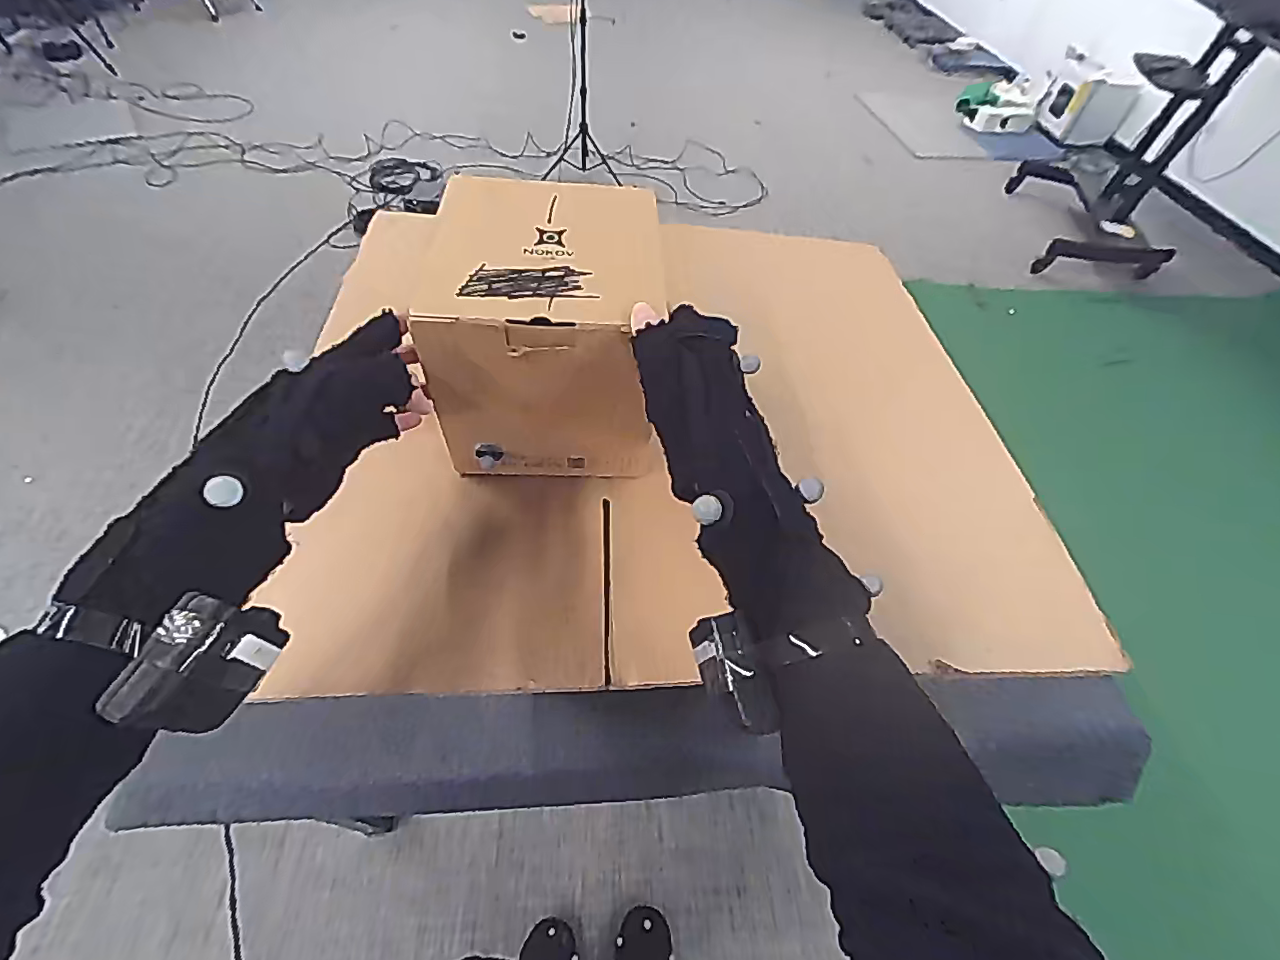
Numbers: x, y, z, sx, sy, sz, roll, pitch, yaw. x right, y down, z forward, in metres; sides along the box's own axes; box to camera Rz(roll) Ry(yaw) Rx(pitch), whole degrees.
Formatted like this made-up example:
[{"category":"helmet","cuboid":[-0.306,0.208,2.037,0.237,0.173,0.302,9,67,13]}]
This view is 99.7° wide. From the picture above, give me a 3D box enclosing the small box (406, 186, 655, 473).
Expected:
[{"category":"small box","cuboid":[-0.077,-0.120,0.462,0.168,0.176,0.179,1,54,-5]}]
